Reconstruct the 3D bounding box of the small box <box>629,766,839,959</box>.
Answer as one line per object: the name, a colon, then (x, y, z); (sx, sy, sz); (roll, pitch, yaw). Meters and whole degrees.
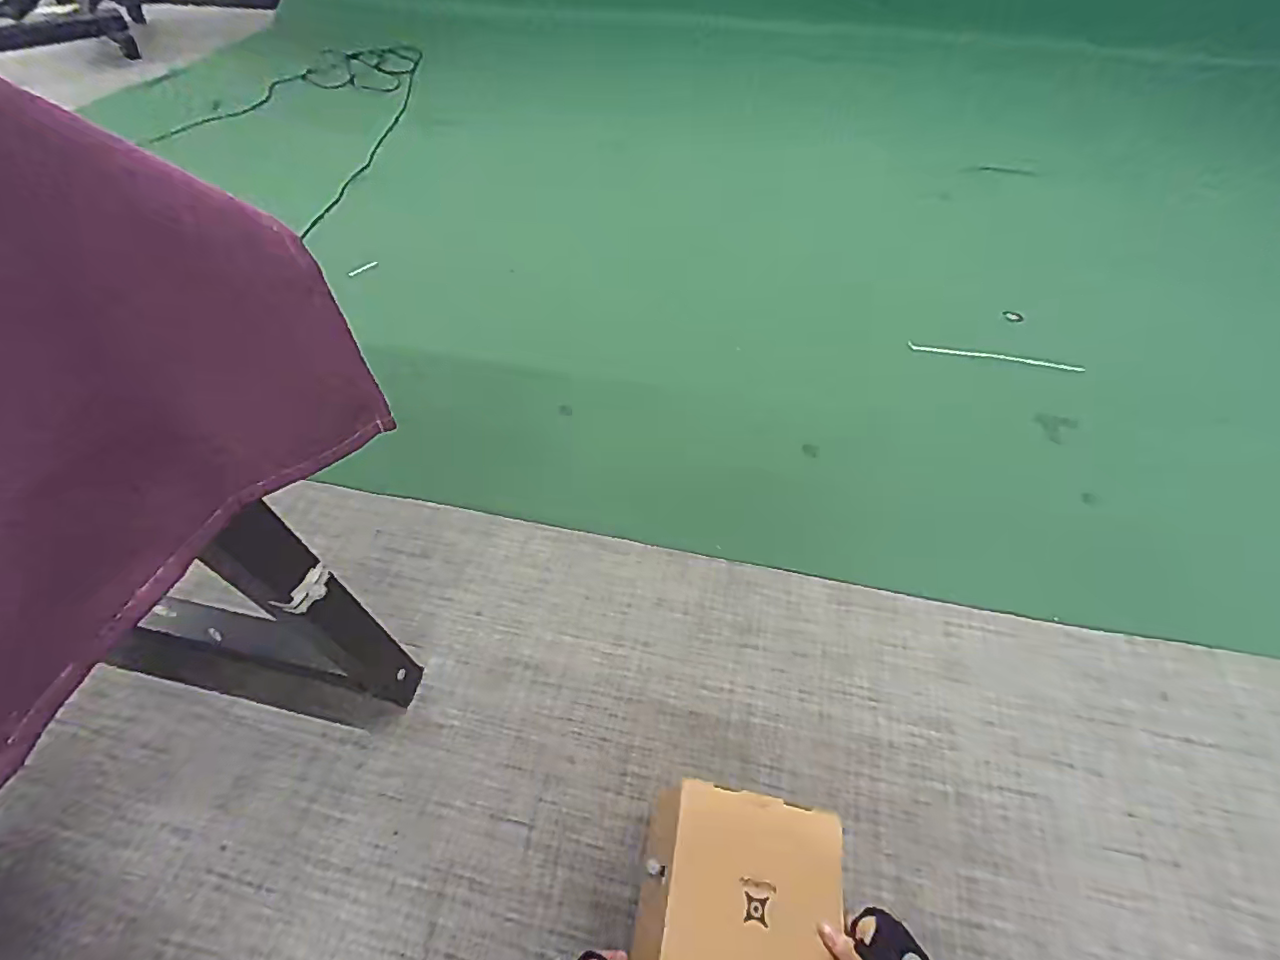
small box: (0.091, 0.424, 0.565); (0.168, 0.176, 0.179); (16, 54, -2)
